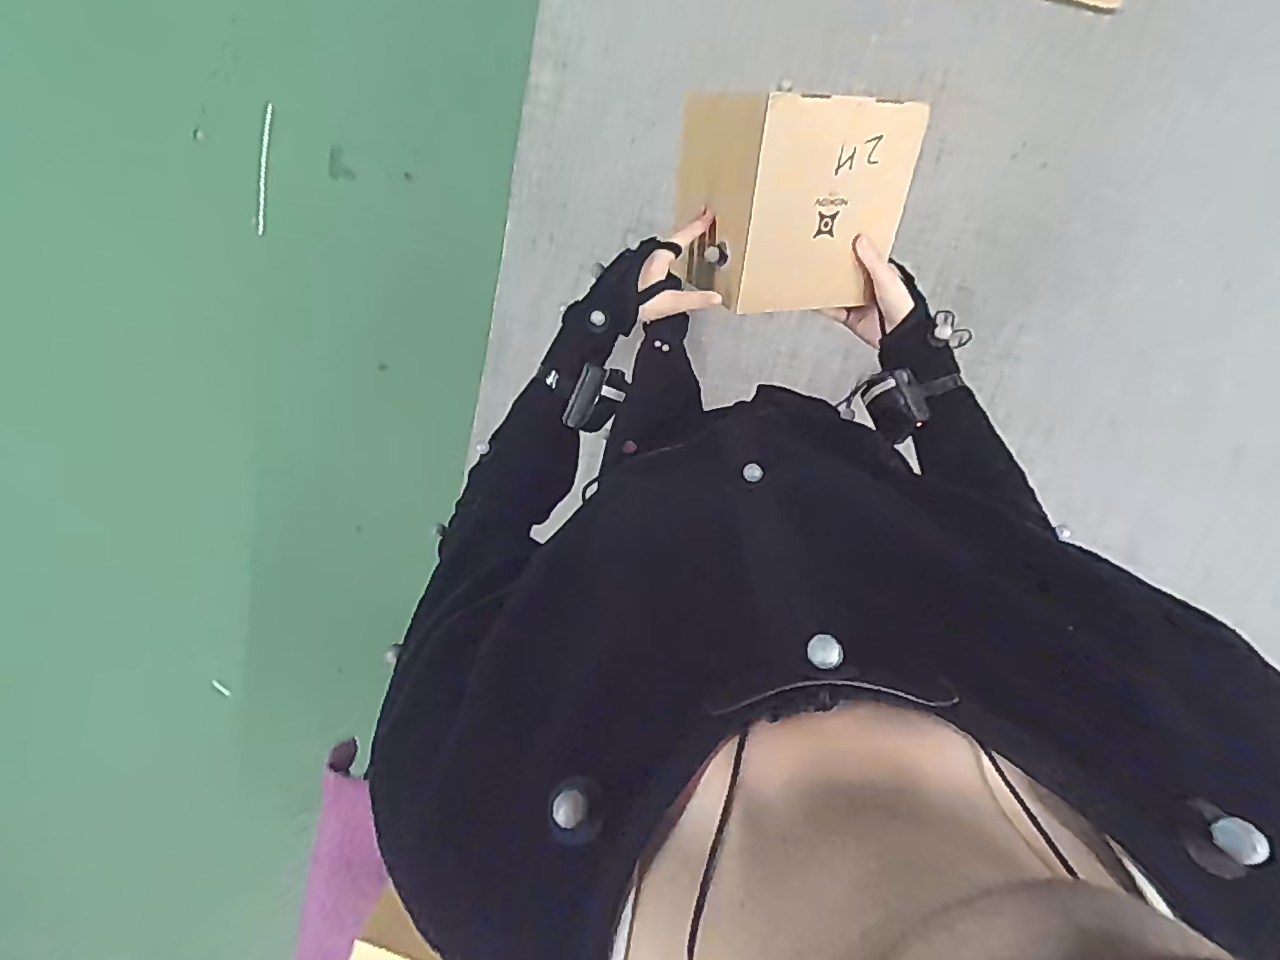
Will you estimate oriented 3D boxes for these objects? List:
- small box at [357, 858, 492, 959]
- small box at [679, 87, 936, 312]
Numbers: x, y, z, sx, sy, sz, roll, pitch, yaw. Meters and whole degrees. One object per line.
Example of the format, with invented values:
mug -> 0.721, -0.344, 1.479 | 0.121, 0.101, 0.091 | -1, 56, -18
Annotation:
small box -> -0.359, 0.772, 0.884 | 0.168, 0.176, 0.179 | 21, 104, -1
small box -> 0.149, -0.284, 0.551 | 0.168, 0.176, 0.179 | -8, 125, -19
